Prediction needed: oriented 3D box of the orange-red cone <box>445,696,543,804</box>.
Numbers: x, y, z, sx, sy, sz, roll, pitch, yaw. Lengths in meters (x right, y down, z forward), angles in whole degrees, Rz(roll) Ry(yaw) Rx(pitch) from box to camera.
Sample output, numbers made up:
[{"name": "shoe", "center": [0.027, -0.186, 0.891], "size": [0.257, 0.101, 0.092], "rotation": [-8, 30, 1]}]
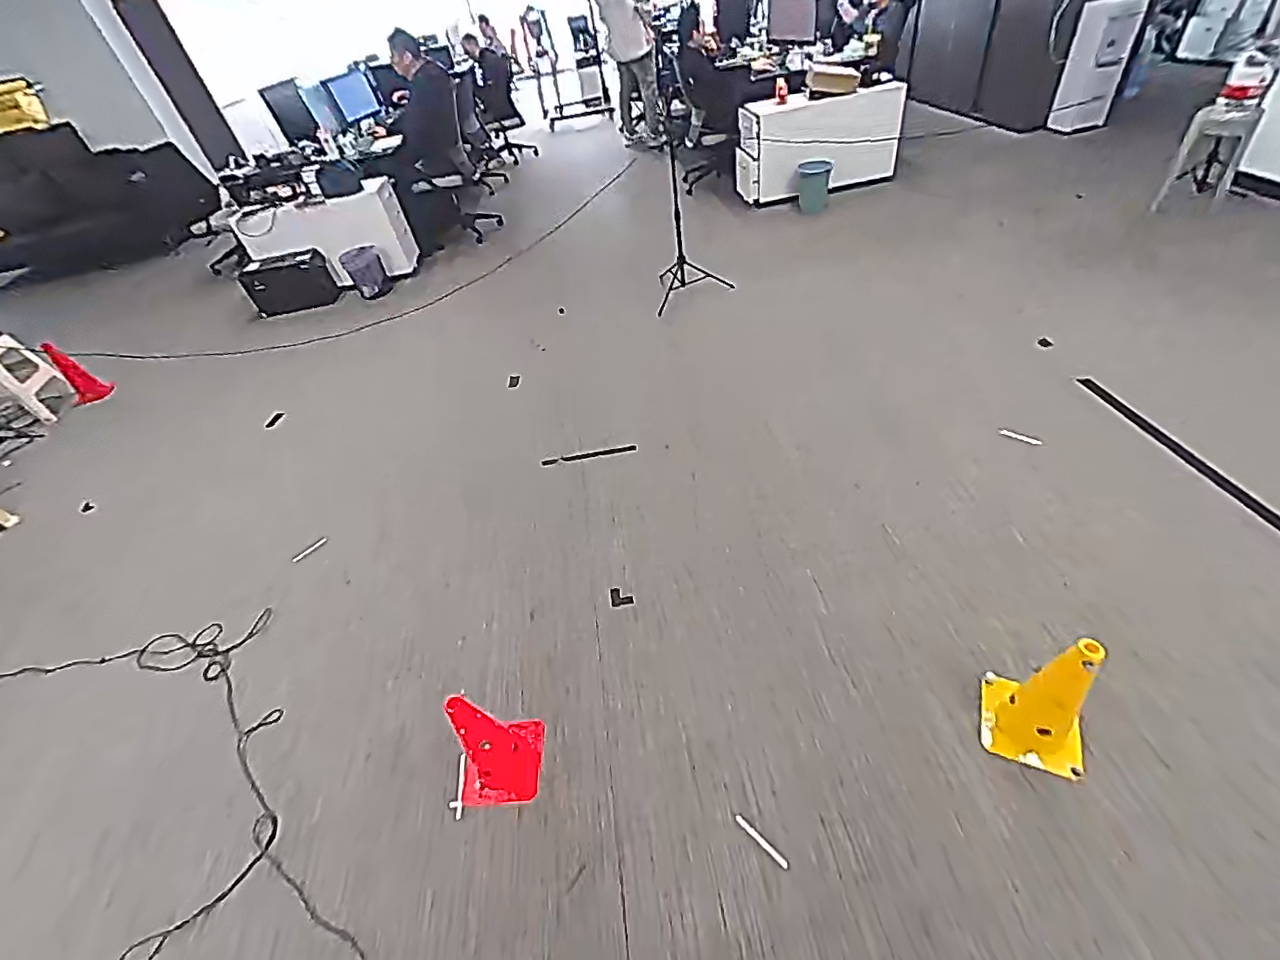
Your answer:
[{"name": "orange-red cone", "center": [-0.378, 0.609, 1.288], "size": [0.199, 0.360, 0.198], "rotation": [-5, 44, 5]}]
